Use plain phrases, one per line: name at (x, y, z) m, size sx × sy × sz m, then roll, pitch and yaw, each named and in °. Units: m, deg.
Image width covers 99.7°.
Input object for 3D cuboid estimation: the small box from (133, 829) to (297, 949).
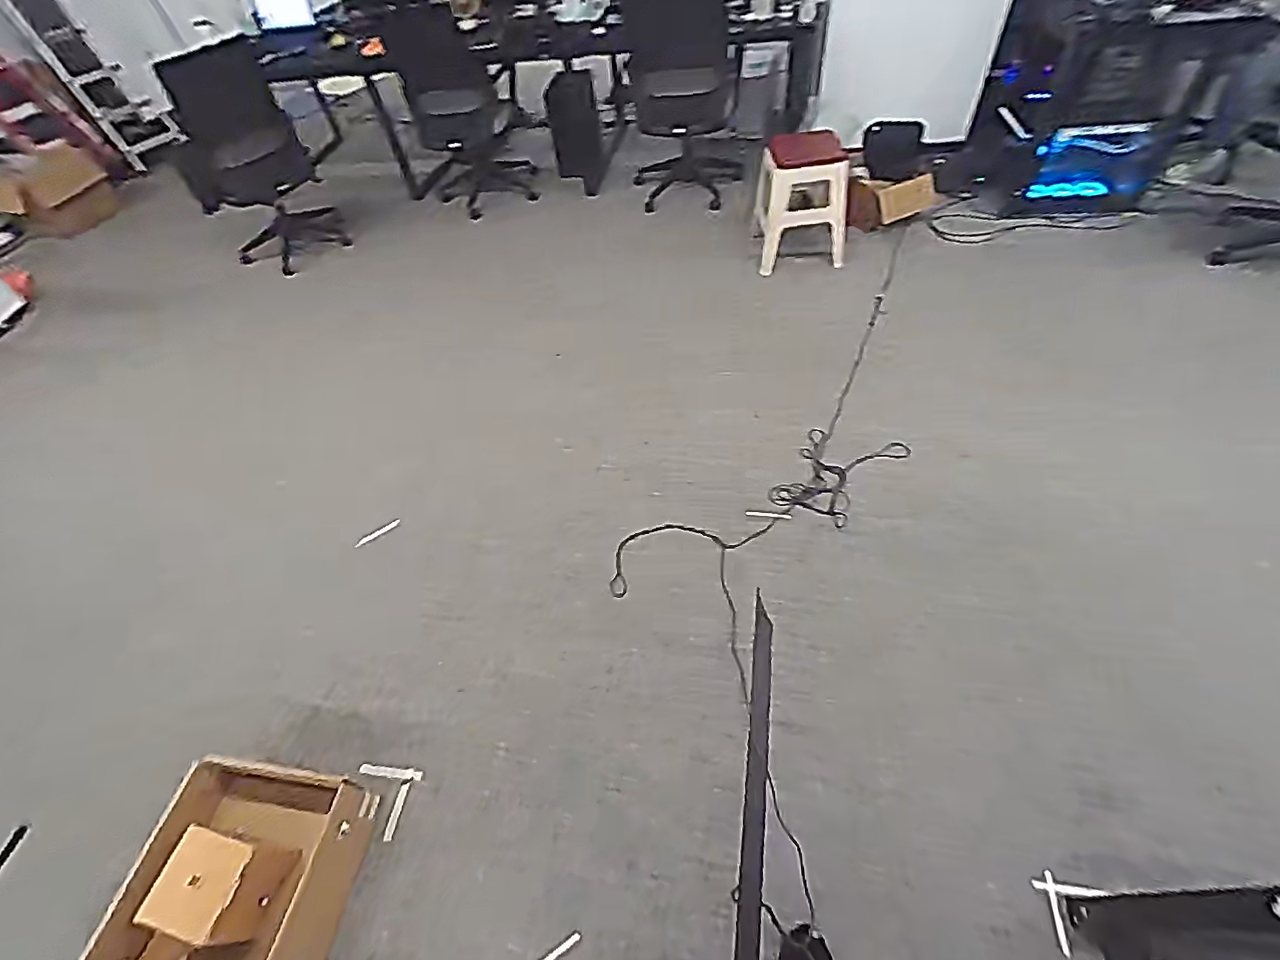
small box at (-0.898, 0.874, 1.161) m, size 0.179 × 0.176 × 0.168 m, roll 7°, pitch 54°, yaw 13°
